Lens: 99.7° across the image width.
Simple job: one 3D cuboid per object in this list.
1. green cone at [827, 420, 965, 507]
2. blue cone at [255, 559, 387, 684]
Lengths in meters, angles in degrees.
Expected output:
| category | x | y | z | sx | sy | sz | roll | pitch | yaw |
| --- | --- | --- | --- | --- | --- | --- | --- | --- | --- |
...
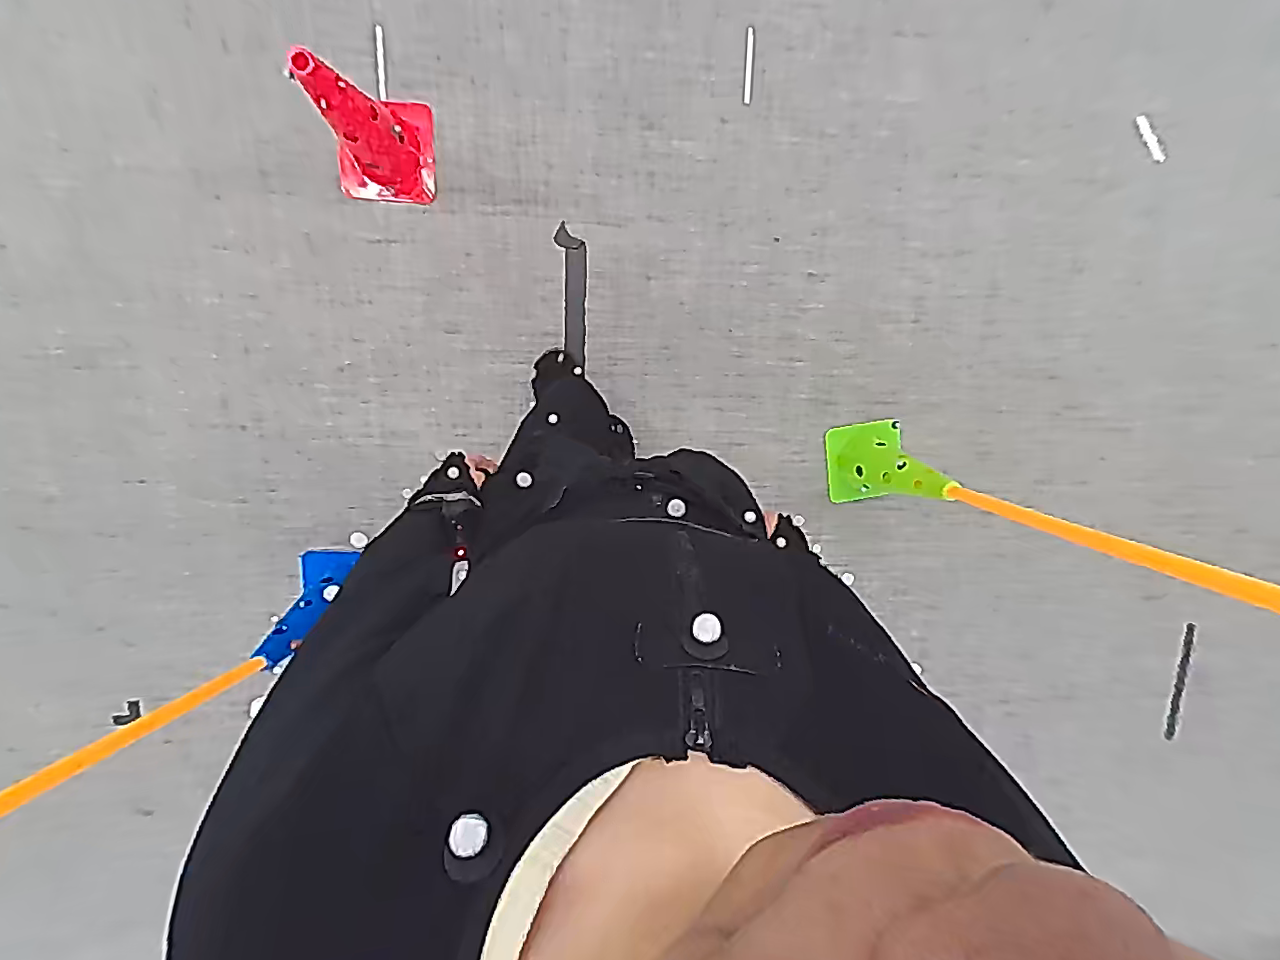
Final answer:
| category | x | y | z | sx | sy | sz | roll | pitch | yaw |
| --- | --- | --- | --- | --- | --- | --- | --- | --- | --- |
| green cone | 0.601 | -0.009 | 1.234 | 0.200 | 0.368 | 0.202 | -10 | 103 | -3 |
| blue cone | -0.723 | 0.321 | 1.195 | 0.193 | 0.380 | 0.192 | 3 | 101 | -5 |
